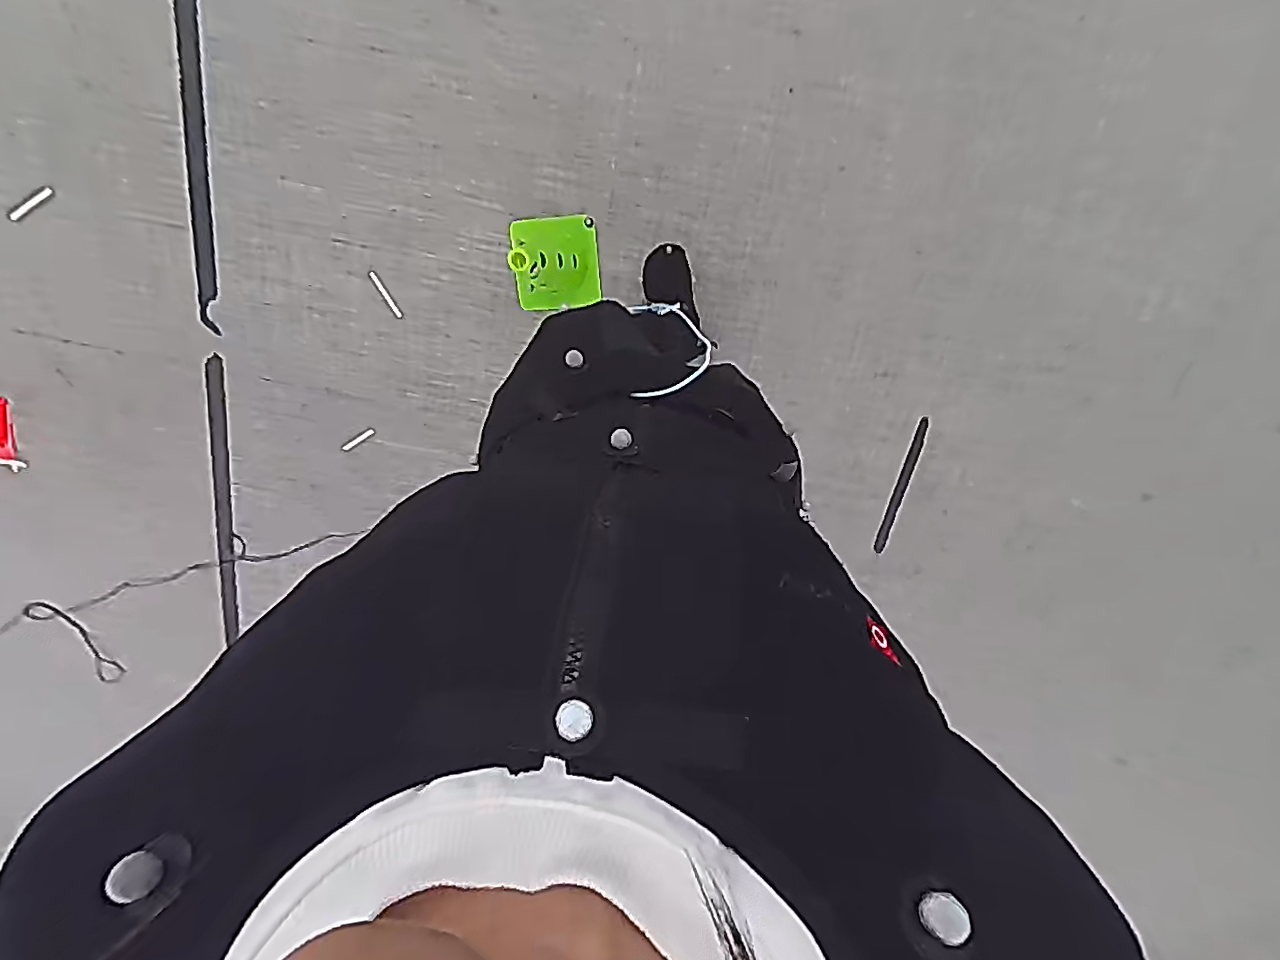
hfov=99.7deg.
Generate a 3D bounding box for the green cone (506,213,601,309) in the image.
[{"bbox_3d":[-0.209,-0.448,1.109,0.200,0.368,0.202,-3,112,5],"label":"green cone"}]

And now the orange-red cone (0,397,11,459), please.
[{"bbox_3d":[-1.849,-0.111,1.331,0.198,0.360,0.199,18,109,-4],"label":"orange-red cone"}]
